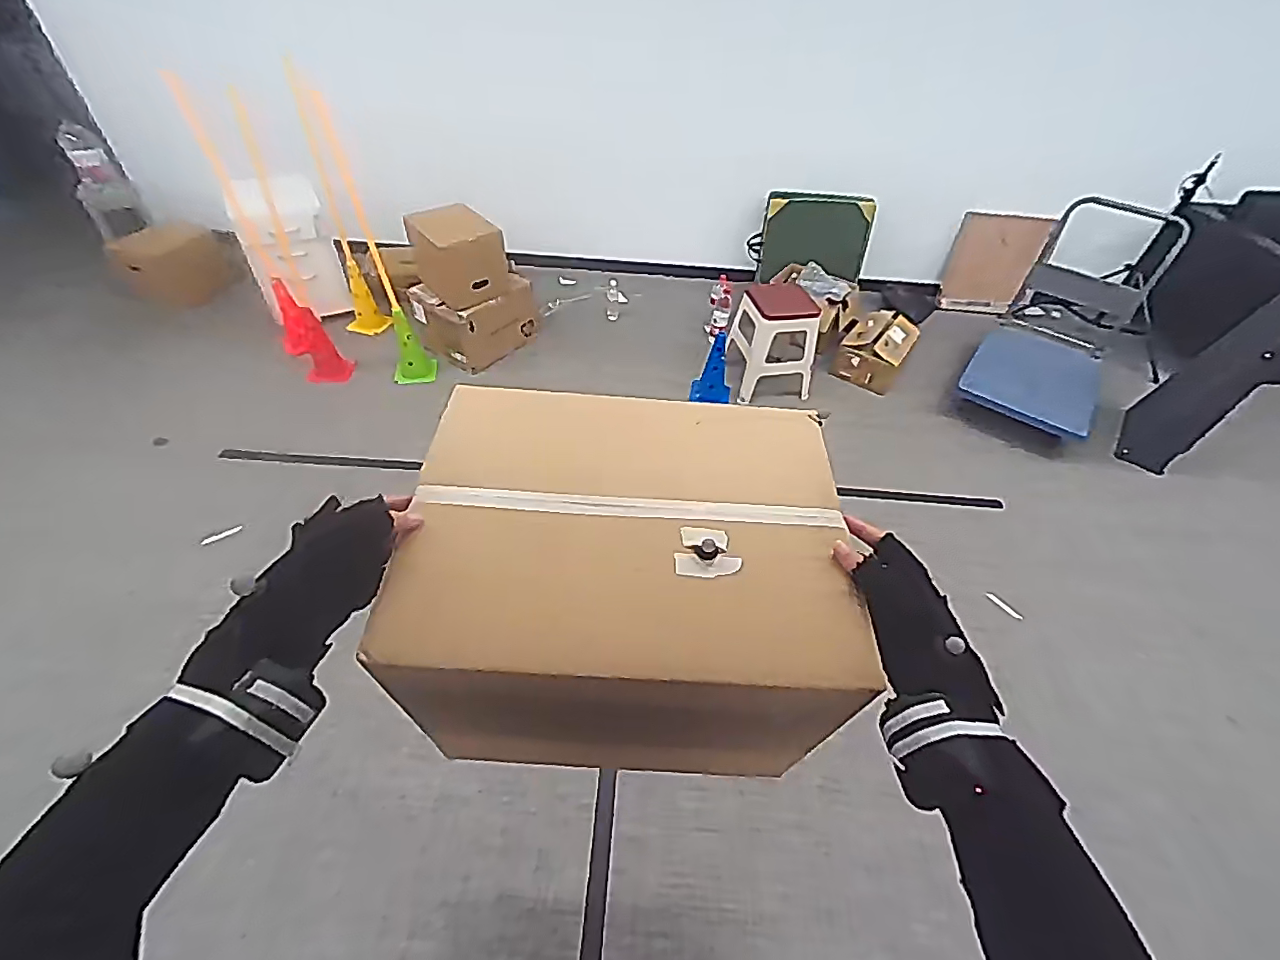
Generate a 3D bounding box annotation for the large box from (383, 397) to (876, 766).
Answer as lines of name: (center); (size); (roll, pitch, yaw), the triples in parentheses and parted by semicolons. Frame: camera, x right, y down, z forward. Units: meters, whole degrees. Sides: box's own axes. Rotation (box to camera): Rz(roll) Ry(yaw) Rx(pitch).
large box: (-0.014, 0.129, 0.635); (0.408, 0.320, 0.320); (4, 51, -2)
